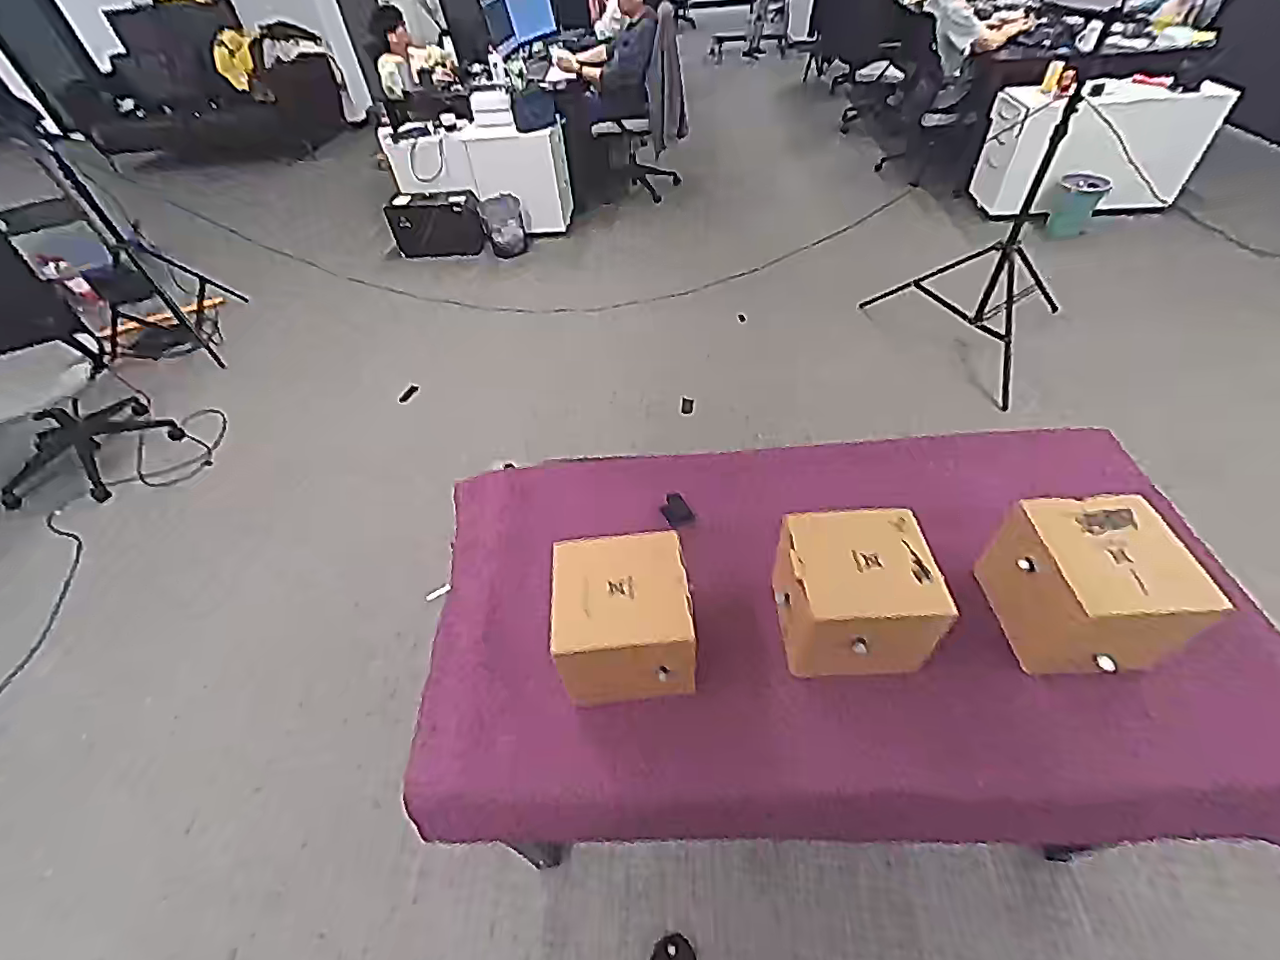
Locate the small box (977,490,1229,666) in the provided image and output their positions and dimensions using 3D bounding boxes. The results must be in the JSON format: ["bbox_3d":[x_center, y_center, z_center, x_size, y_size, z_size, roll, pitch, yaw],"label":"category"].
[{"bbox_3d":[0.605,0.135,0.742,0.168,0.176,0.179,-3,47,3],"label":"small box"}]

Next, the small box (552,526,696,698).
[{"bbox_3d":[-0.019,0.187,0.758,0.179,0.176,0.168,-7,46,0],"label":"small box"}]

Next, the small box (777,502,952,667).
[{"bbox_3d":[0.295,0.150,0.760,0.179,0.176,0.168,-4,47,3],"label":"small box"}]
